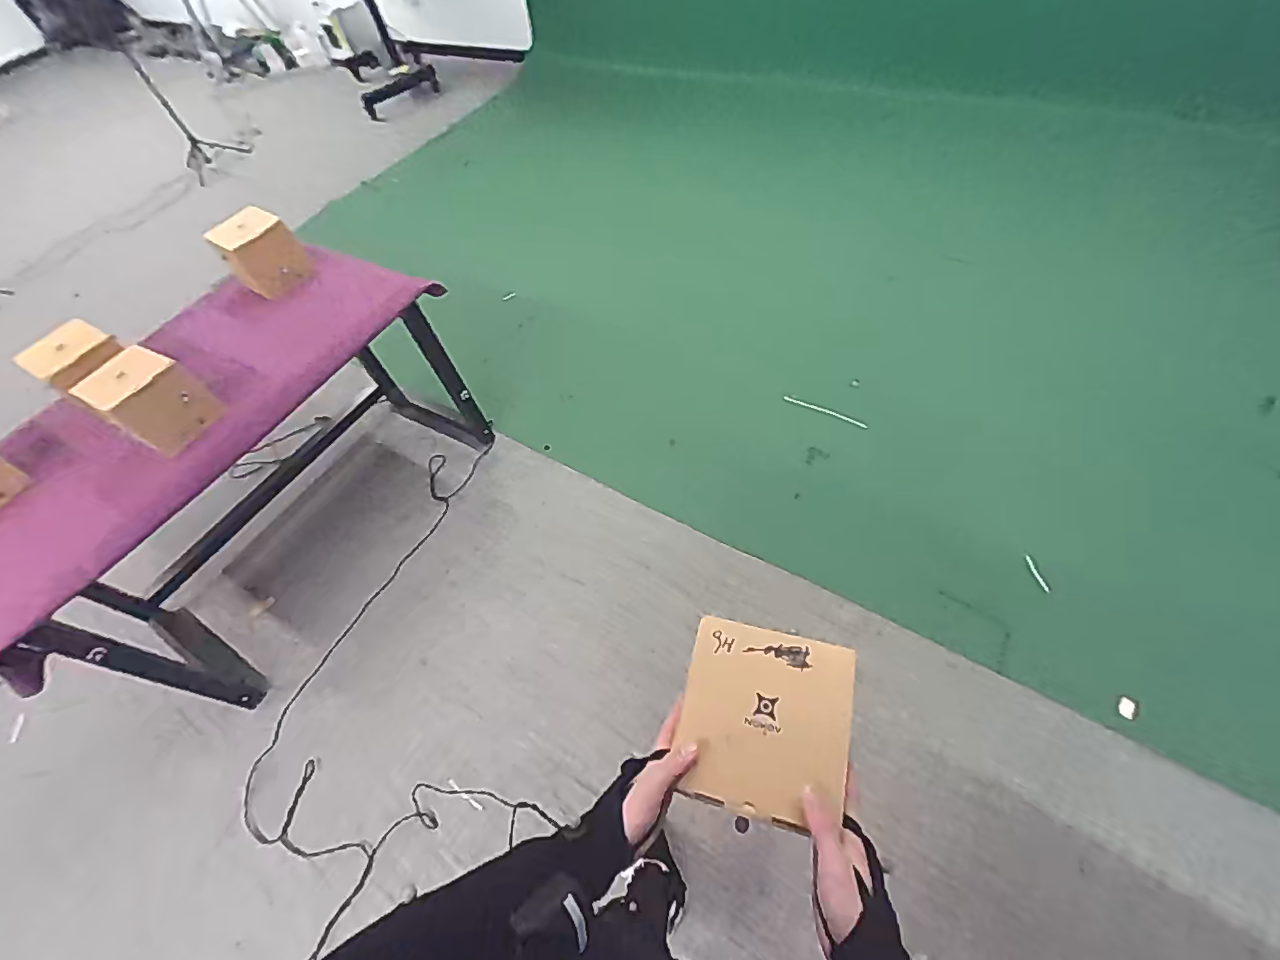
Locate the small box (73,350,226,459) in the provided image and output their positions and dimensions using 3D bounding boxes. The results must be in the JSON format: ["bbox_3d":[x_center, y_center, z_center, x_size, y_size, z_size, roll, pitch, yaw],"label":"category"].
[{"bbox_3d":[-1.132,-0.172,1.262,0.179,0.176,0.168,20,61,23],"label":"small box"}]

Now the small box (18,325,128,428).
[{"bbox_3d":[-1.375,-0.259,1.367,0.179,0.176,0.168,24,62,22],"label":"small box"}]

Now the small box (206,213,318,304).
[{"bbox_3d":[-1.098,-0.645,1.580,0.179,0.176,0.168,29,66,25],"label":"small box"}]

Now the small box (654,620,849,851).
[{"bbox_3d":[0.125,0.280,0.600,0.168,0.176,0.179,10,61,15],"label":"small box"}]
